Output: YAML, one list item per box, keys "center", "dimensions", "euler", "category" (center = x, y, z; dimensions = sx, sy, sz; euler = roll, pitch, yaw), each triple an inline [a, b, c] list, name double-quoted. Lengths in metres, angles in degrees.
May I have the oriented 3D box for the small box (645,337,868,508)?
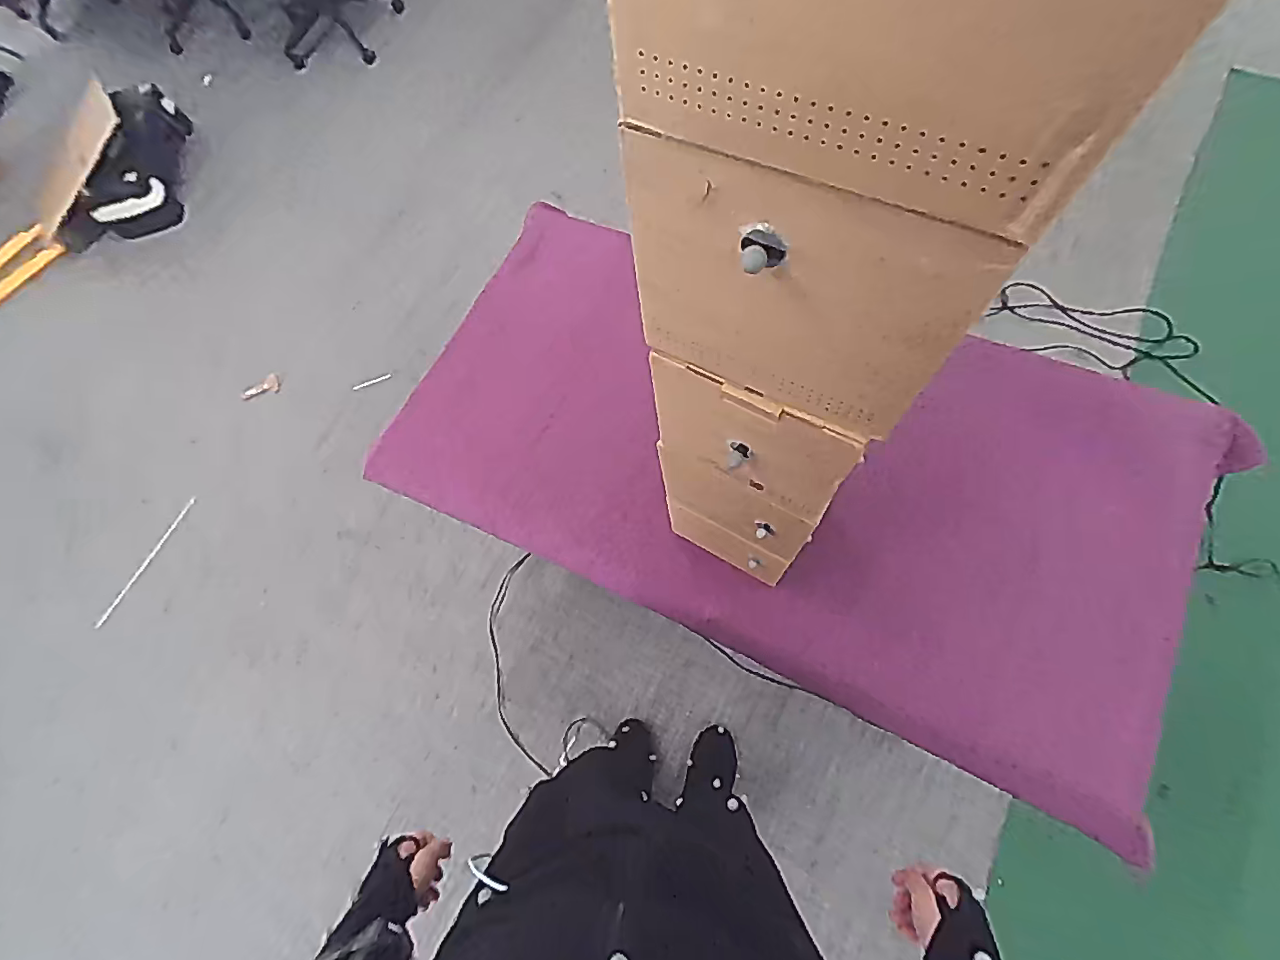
- center: [0.125, -0.099, 0.470]
  dimensions: [0.168, 0.176, 0.179]
  euler: [28, 75, 15]
  category: "small box"

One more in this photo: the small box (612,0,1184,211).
- center: [0.098, -0.218, 0.167]
  dimensions: [0.179, 0.176, 0.168]
  euler: [26, 74, 16]
  category: "small box"

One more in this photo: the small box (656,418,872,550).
- center: [0.139, -0.035, 0.619]
  dimensions: [0.179, 0.176, 0.168]
  euler: [28, 75, 16]
  category: "small box"

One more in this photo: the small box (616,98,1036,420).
- center: [0.108, -0.160, 0.318]
  dimensions: [0.179, 0.176, 0.168]
  euler: [26, 74, 14]
  category: "small box"
